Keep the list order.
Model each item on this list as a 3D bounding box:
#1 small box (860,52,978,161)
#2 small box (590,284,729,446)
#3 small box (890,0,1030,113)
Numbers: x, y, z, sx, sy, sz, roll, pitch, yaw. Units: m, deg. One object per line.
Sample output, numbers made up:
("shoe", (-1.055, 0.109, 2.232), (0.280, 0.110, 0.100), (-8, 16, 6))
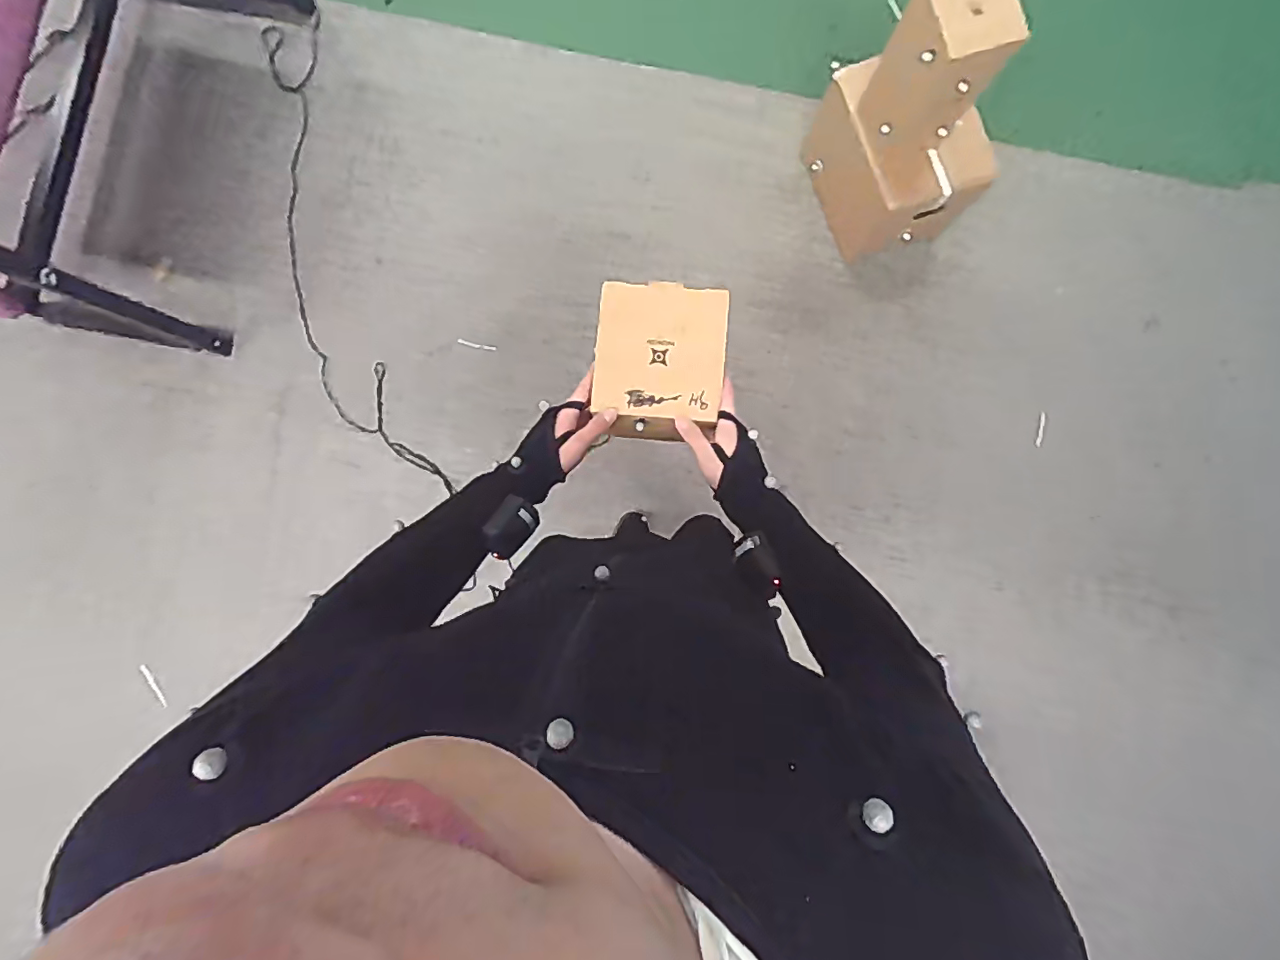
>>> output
("small box", (0.658, -0.902, 1.295), (0.168, 0.176, 0.179), (-19, 87, -1))
("small box", (0.027, -0.151, 0.760), (0.168, 0.176, 0.179), (5, 85, 2))
("small box", (0.657, -0.910, 1.130), (0.168, 0.176, 0.179), (-17, 87, -2))
